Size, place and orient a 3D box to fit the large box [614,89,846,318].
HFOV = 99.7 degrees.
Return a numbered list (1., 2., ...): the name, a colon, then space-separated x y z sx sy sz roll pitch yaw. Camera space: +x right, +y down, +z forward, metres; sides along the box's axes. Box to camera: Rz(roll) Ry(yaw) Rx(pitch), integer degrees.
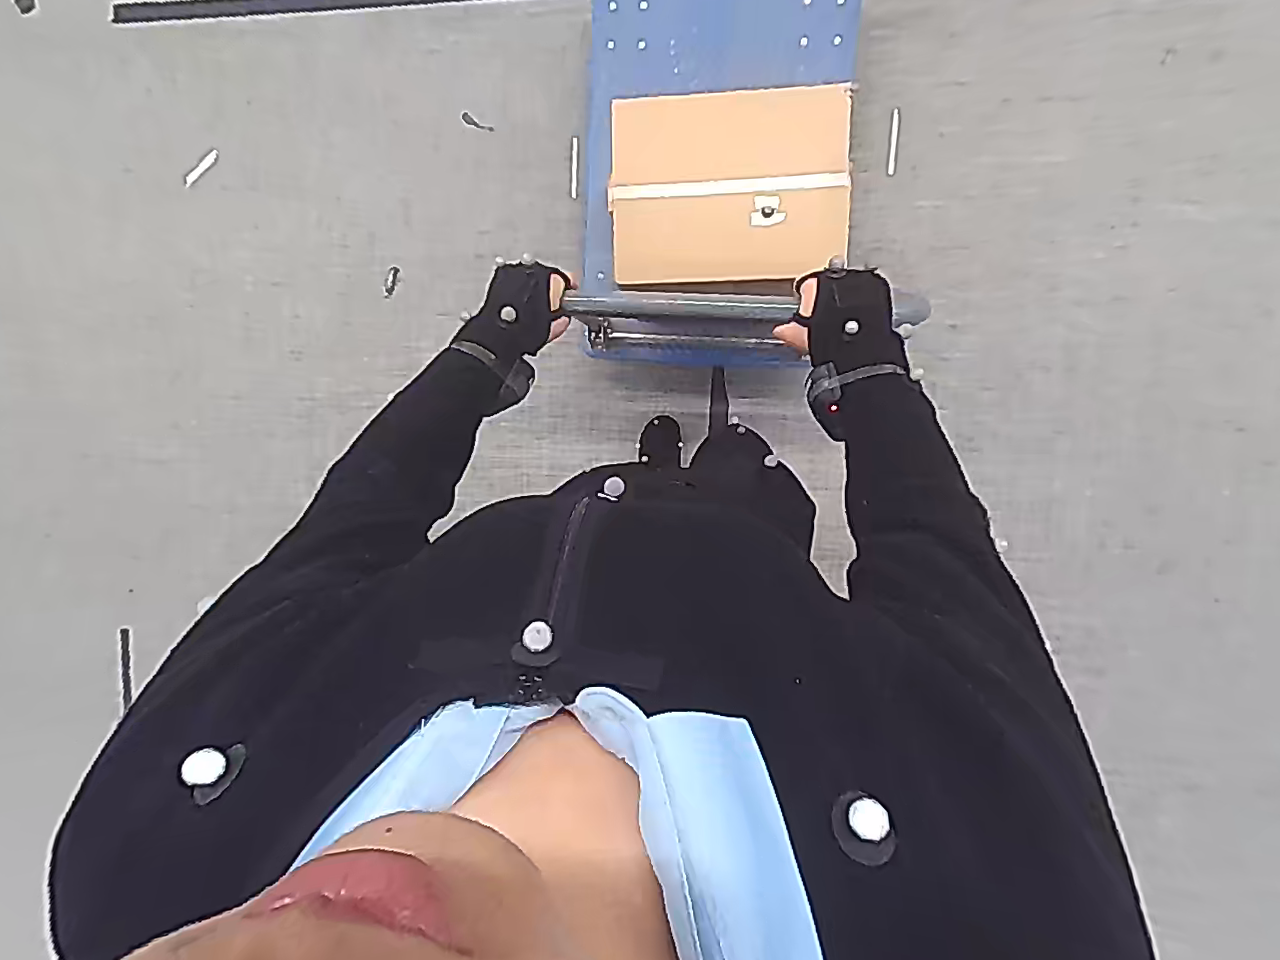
1. large box: 0.167 -0.523 1.095 0.408 0.320 0.320 0 96 5
